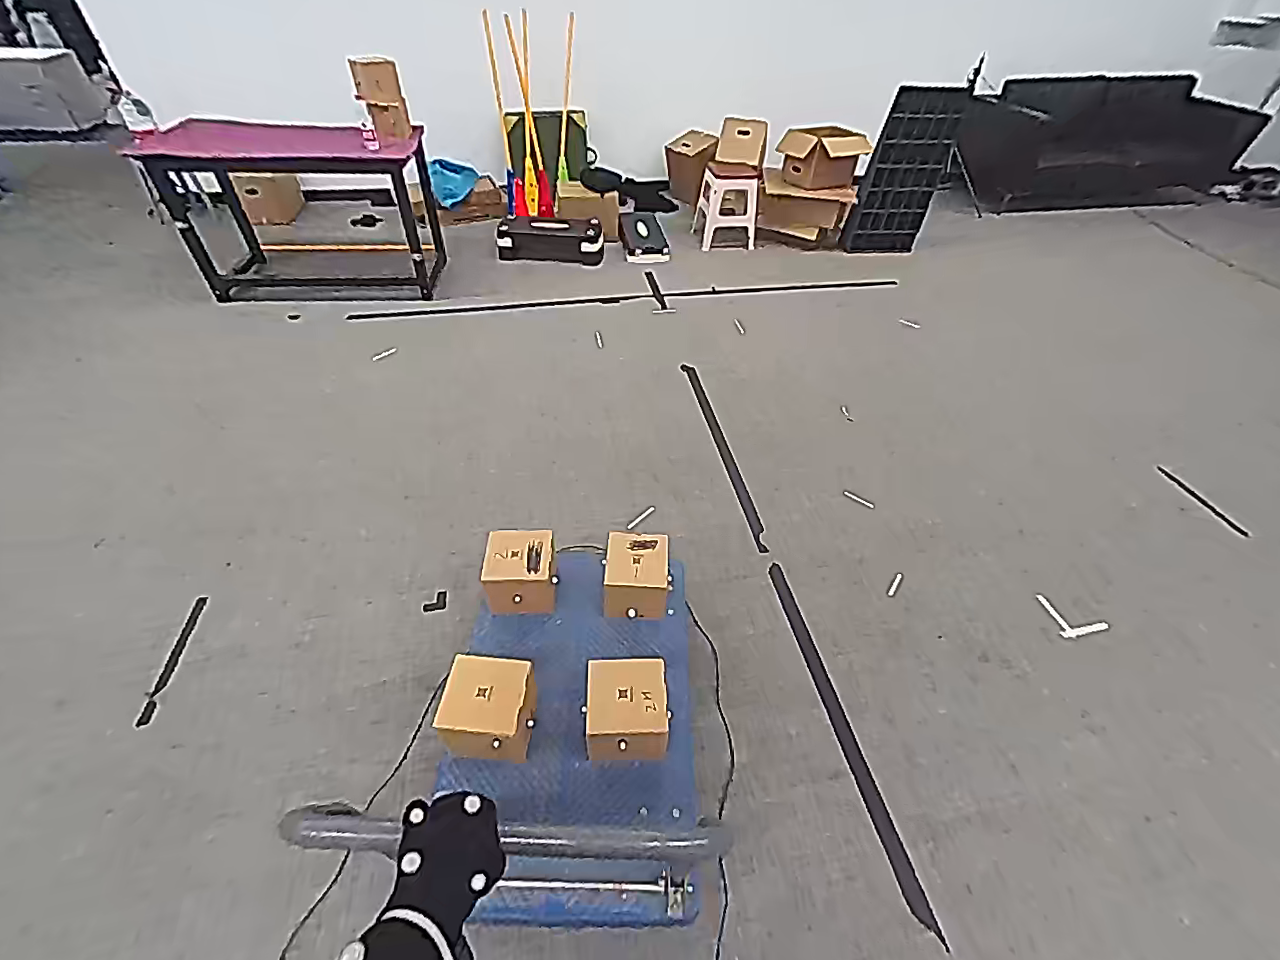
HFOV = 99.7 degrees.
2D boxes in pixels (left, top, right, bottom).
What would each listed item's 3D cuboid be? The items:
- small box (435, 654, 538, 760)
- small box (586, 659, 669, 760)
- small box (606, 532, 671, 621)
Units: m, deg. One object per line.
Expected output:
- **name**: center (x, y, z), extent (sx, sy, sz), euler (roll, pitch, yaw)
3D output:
- **small box**: center (-0.338, 0.518, 1.226), extent (0.179, 0.176, 0.168), euler (6, 44, 1)
- **small box**: center (-0.029, 0.525, 1.233), extent (0.179, 0.176, 0.168), euler (0, 45, -3)
- **small box**: center (-0.006, 0.267, 1.496), extent (0.168, 0.176, 0.179), euler (4, 46, 1)
